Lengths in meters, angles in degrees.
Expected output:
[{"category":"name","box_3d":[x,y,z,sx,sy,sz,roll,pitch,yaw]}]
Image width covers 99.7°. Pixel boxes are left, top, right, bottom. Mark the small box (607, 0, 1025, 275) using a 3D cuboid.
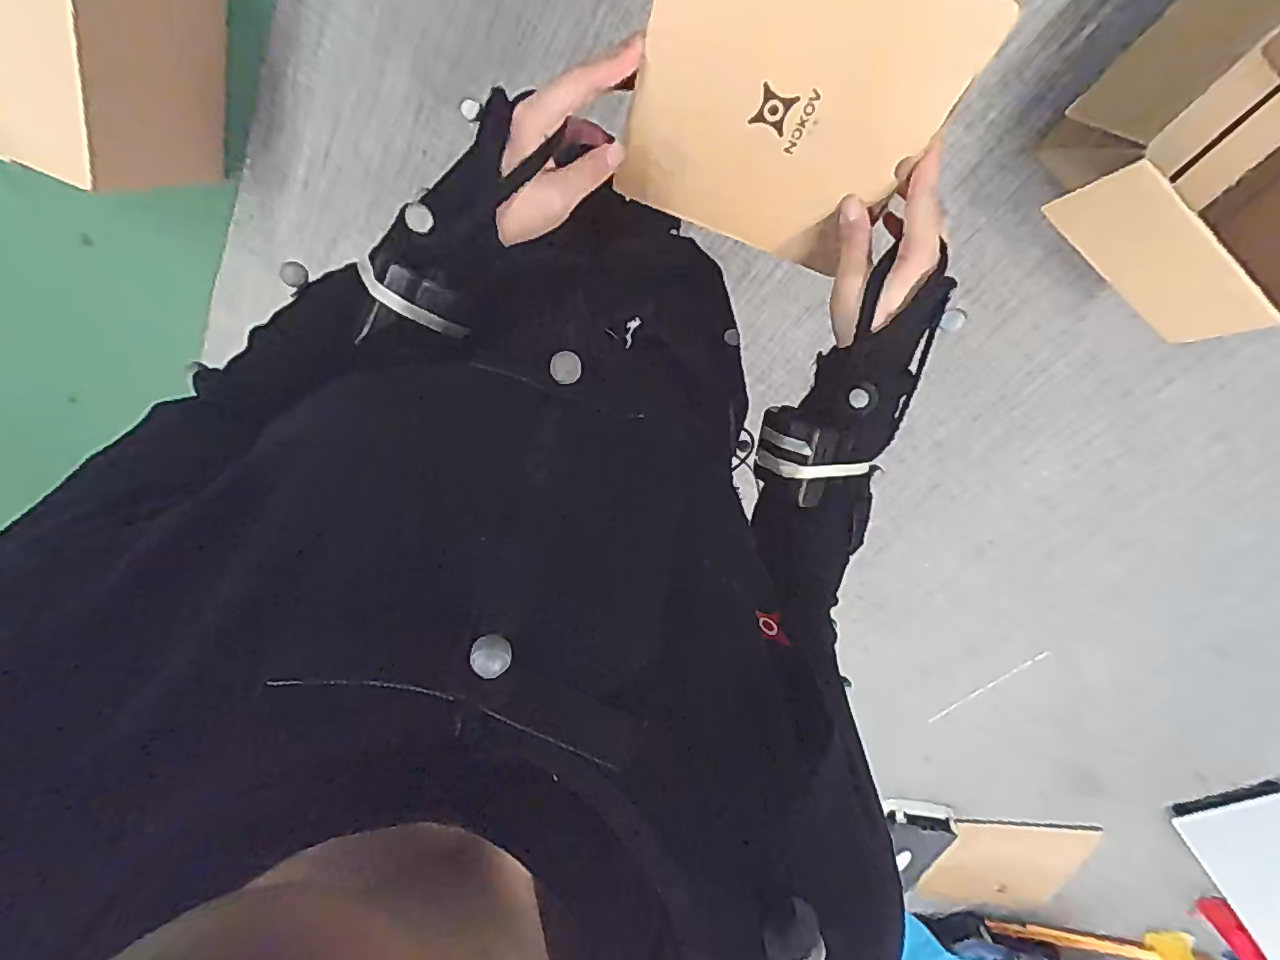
[{"category":"small box","box_3d":[0.097,-0.277,0.354,0.179,0.176,0.168,19,147,-7]}]
